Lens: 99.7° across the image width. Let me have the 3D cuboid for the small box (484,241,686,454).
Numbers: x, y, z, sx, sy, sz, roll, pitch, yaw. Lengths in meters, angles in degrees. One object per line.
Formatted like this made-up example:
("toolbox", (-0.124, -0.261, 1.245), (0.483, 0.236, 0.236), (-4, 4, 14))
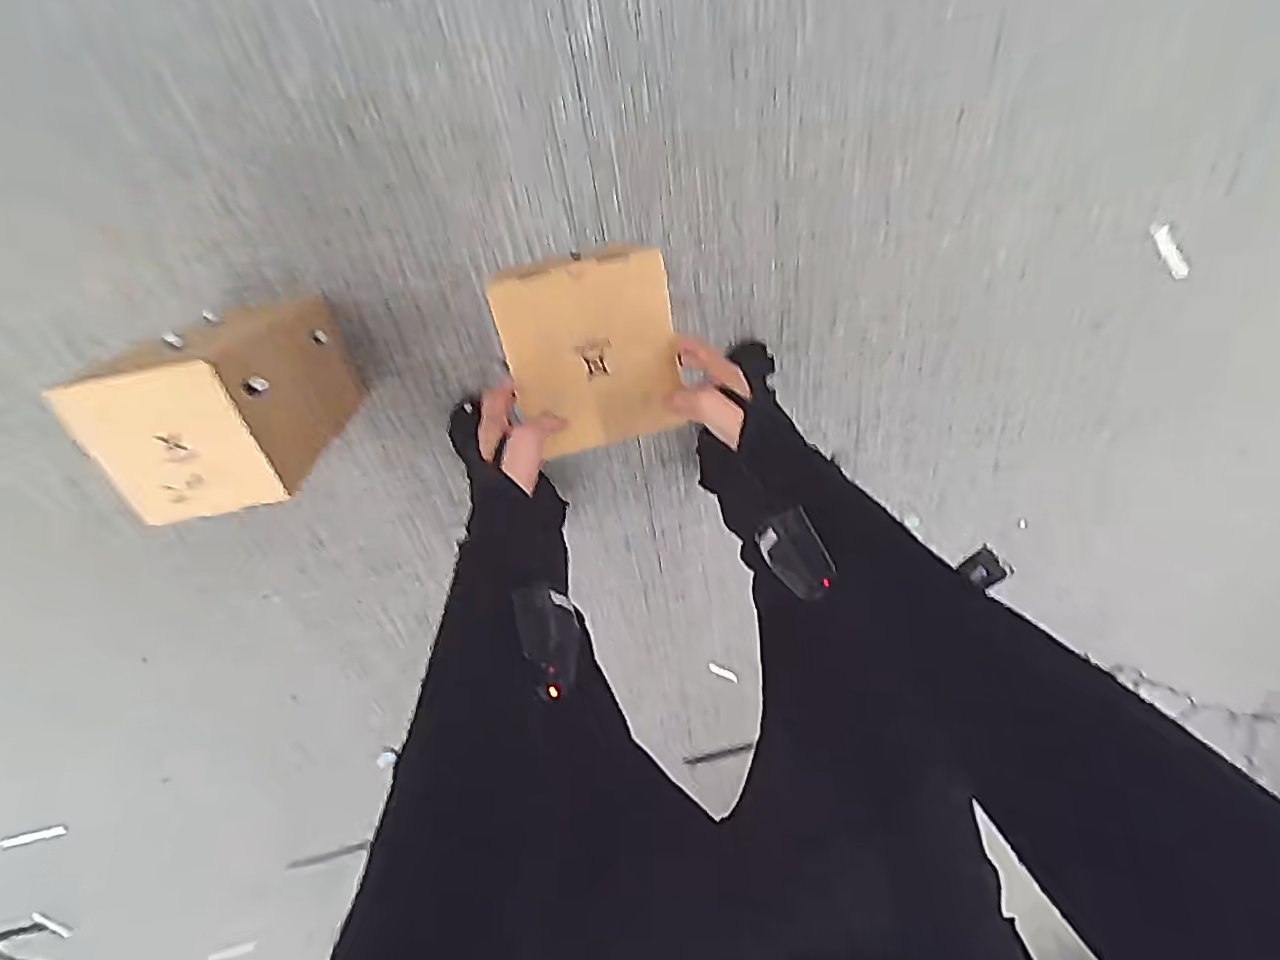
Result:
("small box", (-0.059, -0.153, 0.589), (0.168, 0.176, 0.179), (-15, 115, -6))

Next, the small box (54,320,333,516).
("small box", (-0.515, -0.086, 0.662), (0.168, 0.176, 0.179), (-11, 122, -2))

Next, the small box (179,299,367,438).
("small box", (-0.540, -0.162, 0.805), (0.168, 0.176, 0.179), (-11, 122, -3))
